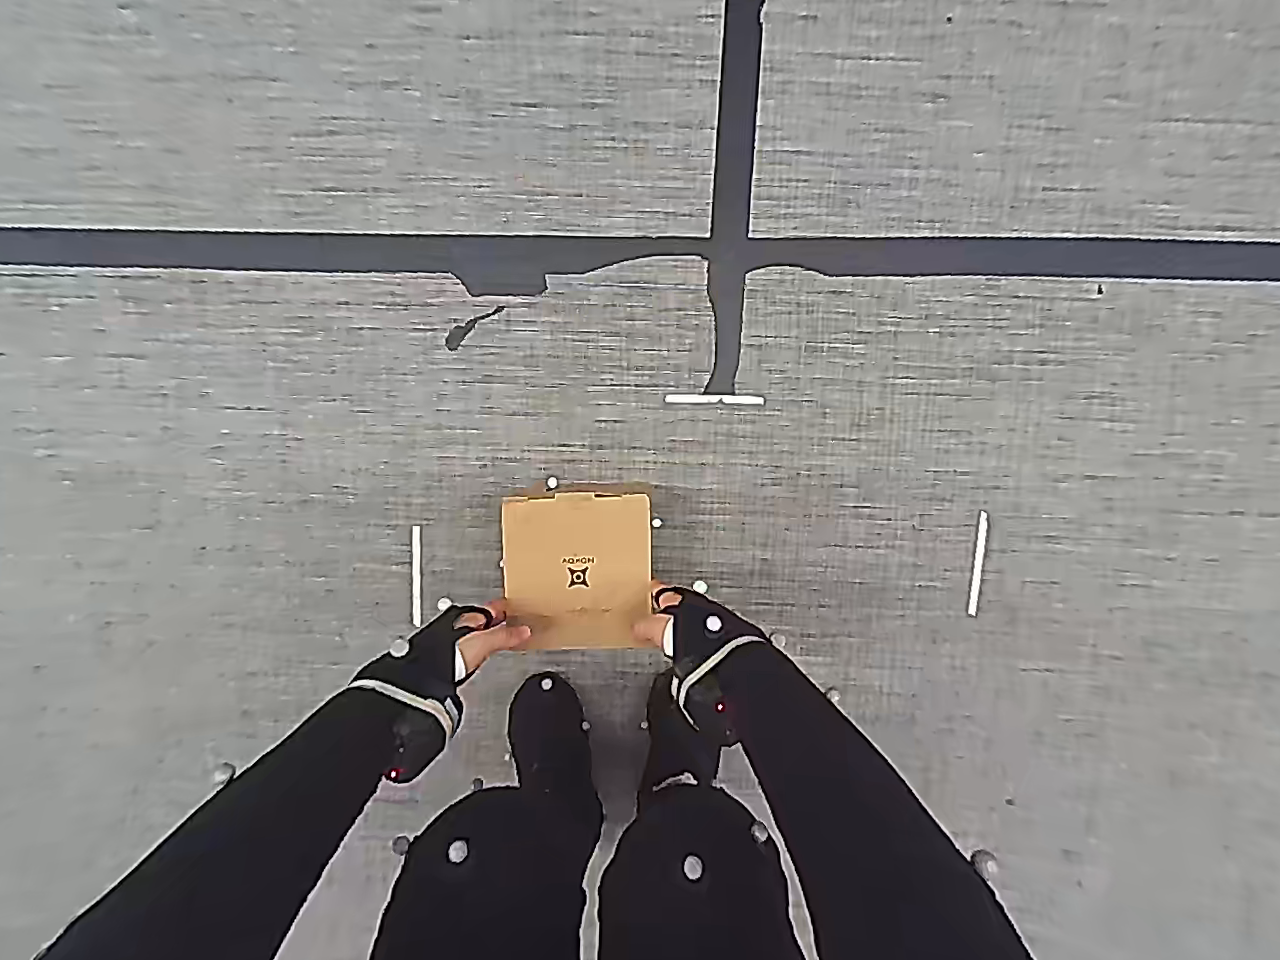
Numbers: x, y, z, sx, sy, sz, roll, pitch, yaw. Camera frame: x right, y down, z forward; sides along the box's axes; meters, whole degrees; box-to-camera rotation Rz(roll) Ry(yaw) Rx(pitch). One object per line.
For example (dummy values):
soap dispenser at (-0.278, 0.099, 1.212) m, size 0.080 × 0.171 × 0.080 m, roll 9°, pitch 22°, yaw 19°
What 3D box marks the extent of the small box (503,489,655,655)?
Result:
small box at (-0.069, 0.102, 0.676) m, size 0.168 × 0.176 × 0.179 m, roll -2°, pitch 93°, yaw 0°
